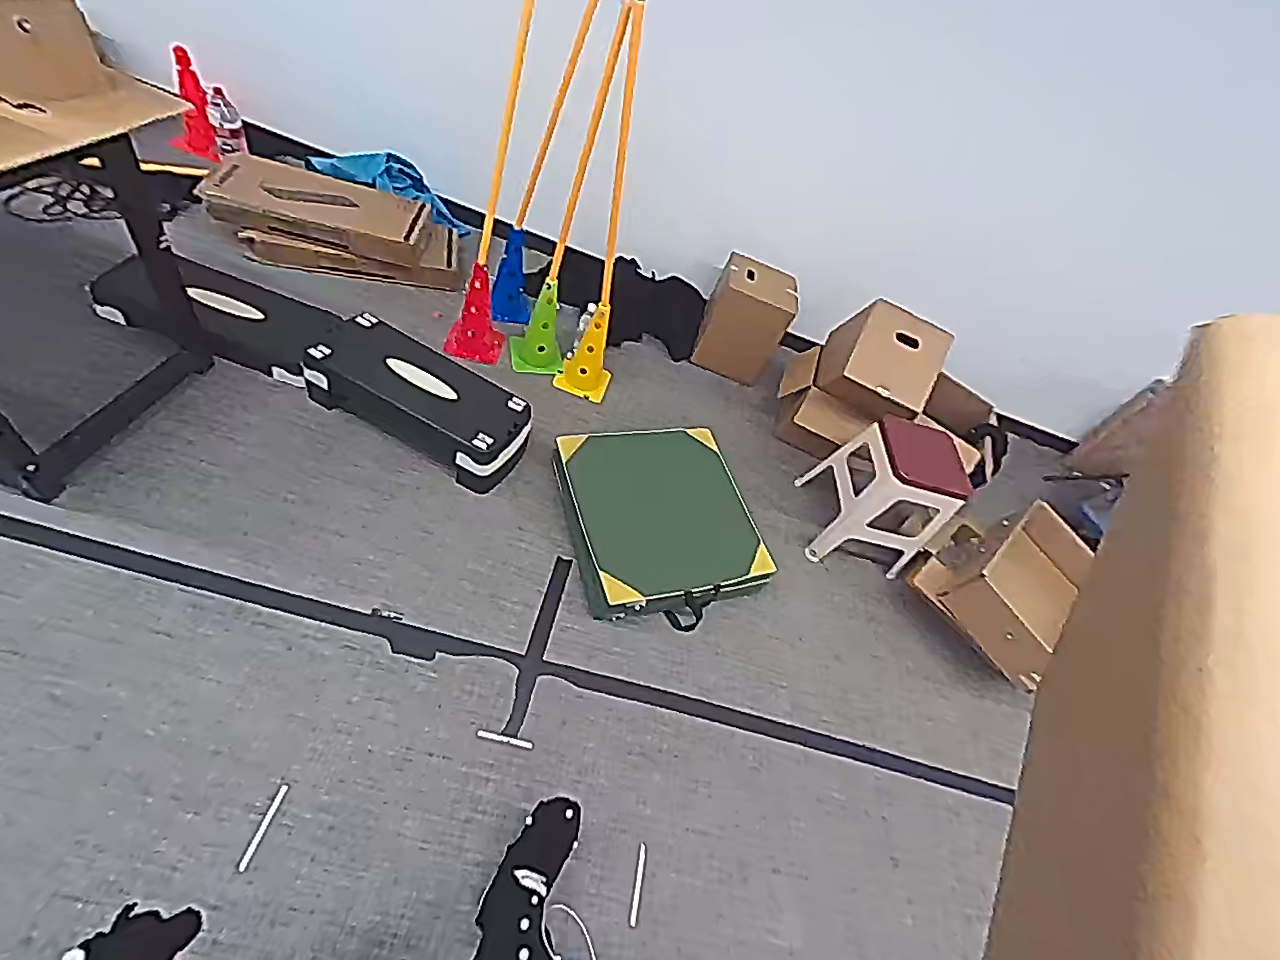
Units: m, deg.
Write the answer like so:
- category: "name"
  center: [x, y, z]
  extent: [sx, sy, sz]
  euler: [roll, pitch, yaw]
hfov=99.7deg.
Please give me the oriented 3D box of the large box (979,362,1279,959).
- category: "large box"
  center: [0.349, 0.203, 0.227]
  extent: [0.320, 0.408, 0.320]
  euler: [15, 54, 37]
